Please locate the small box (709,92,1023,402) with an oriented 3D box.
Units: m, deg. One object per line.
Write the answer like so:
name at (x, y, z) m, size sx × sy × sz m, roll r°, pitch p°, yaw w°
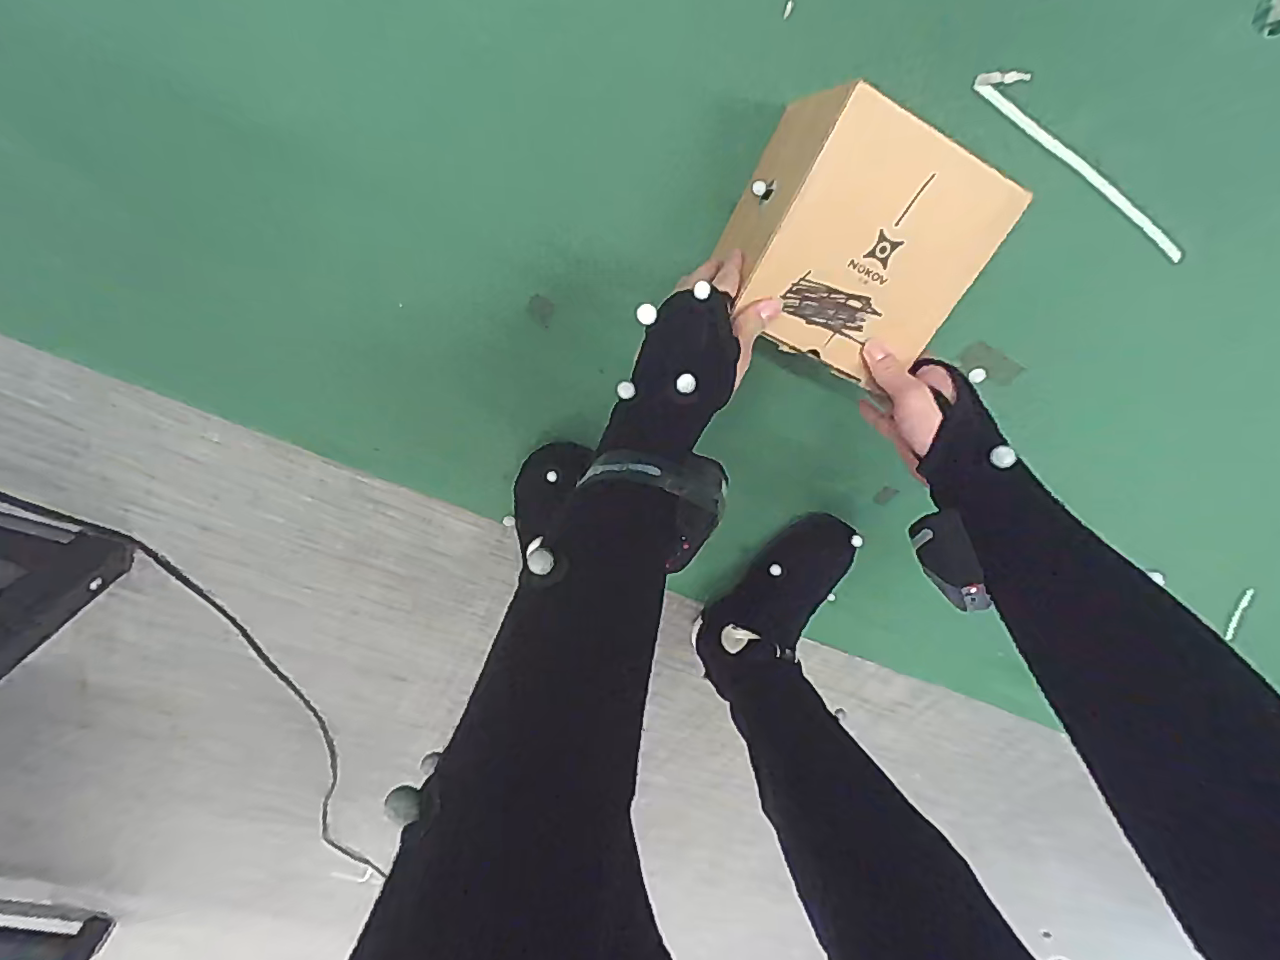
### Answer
small box at (0.176, -0.204, 0.490) m, size 0.168 × 0.176 × 0.179 m, roll 22°, pitch 116°, yaw -15°
